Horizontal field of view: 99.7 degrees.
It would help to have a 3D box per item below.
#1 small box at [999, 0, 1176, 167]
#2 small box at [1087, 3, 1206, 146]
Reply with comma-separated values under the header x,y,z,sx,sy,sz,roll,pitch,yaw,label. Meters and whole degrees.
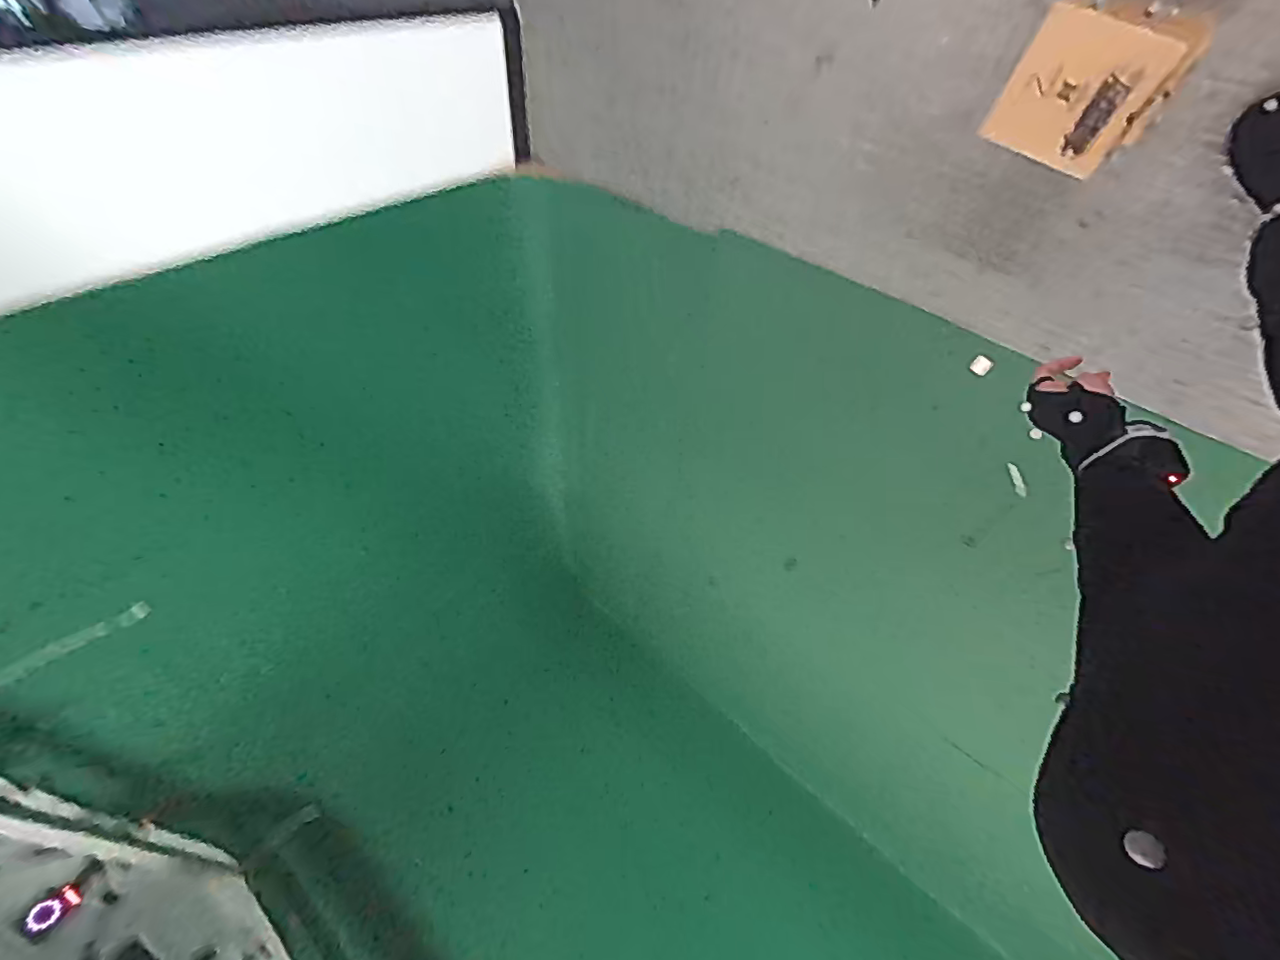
x,y,z,sx,sy,sz,roll,pitch,yaw,label
0.756,-0.676,0.912,0.168,0.176,0.179,55,147,-9,small box
0.871,-0.748,0.989,0.179,0.176,0.168,39,144,19,small box
